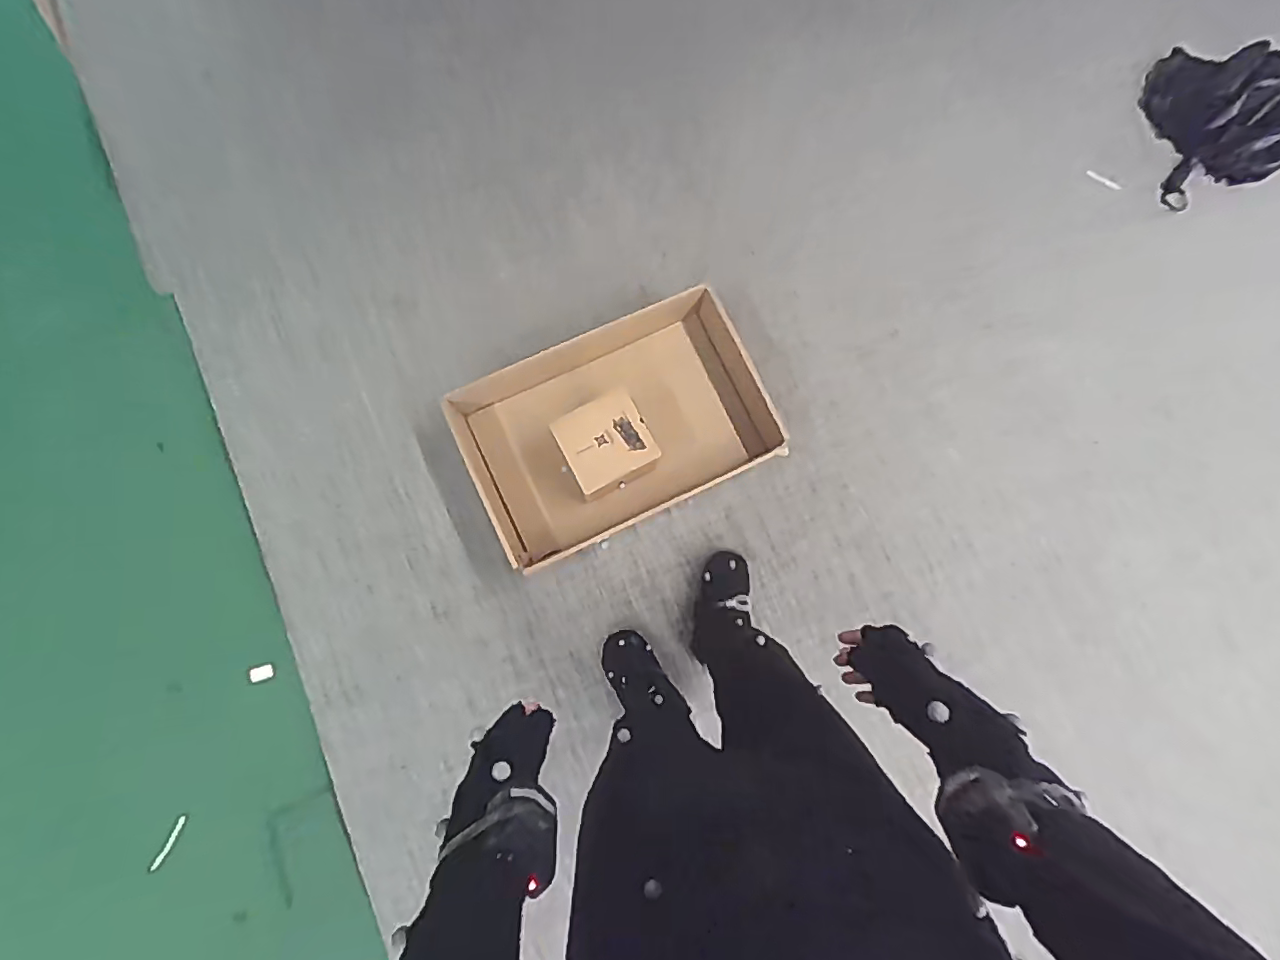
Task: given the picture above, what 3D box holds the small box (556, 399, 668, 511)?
[{"bbox_3d":[-0.059,-0.046,1.150,0.179,0.176,0.168,-26,83,-5],"label":"small box"}]
